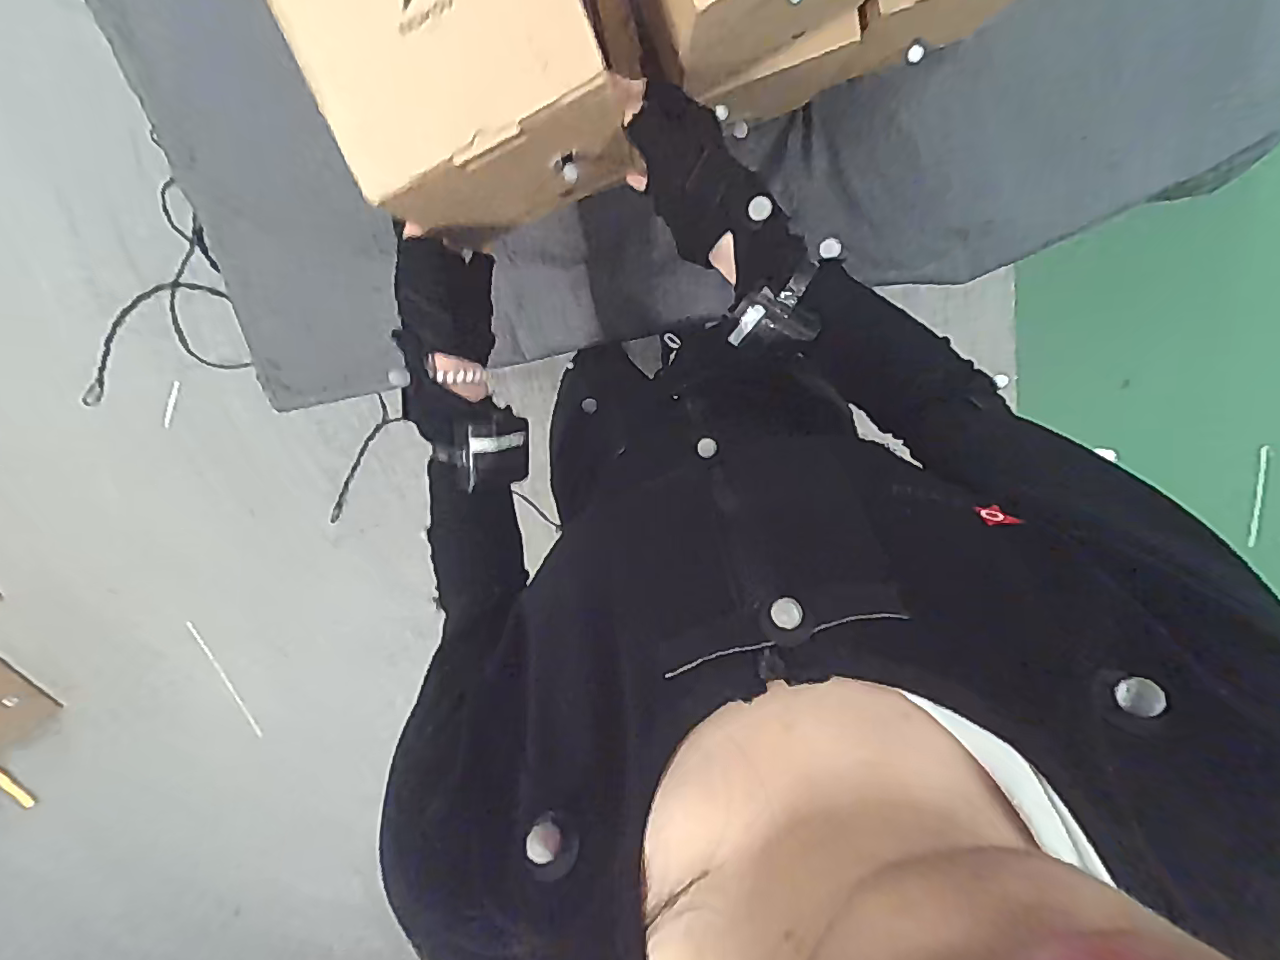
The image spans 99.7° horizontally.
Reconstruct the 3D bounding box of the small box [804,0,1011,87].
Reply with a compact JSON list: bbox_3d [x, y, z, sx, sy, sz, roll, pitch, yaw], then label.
[{"bbox_3d":[0.249,-0.509,0.493,0.168,0.176,0.179,-16,107,7],"label":"small box"}]

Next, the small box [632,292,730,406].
[{"bbox_3d":[0.102,-0.315,1.327,0.168,0.176,0.179,35,81,17],"label":"small box"}]
